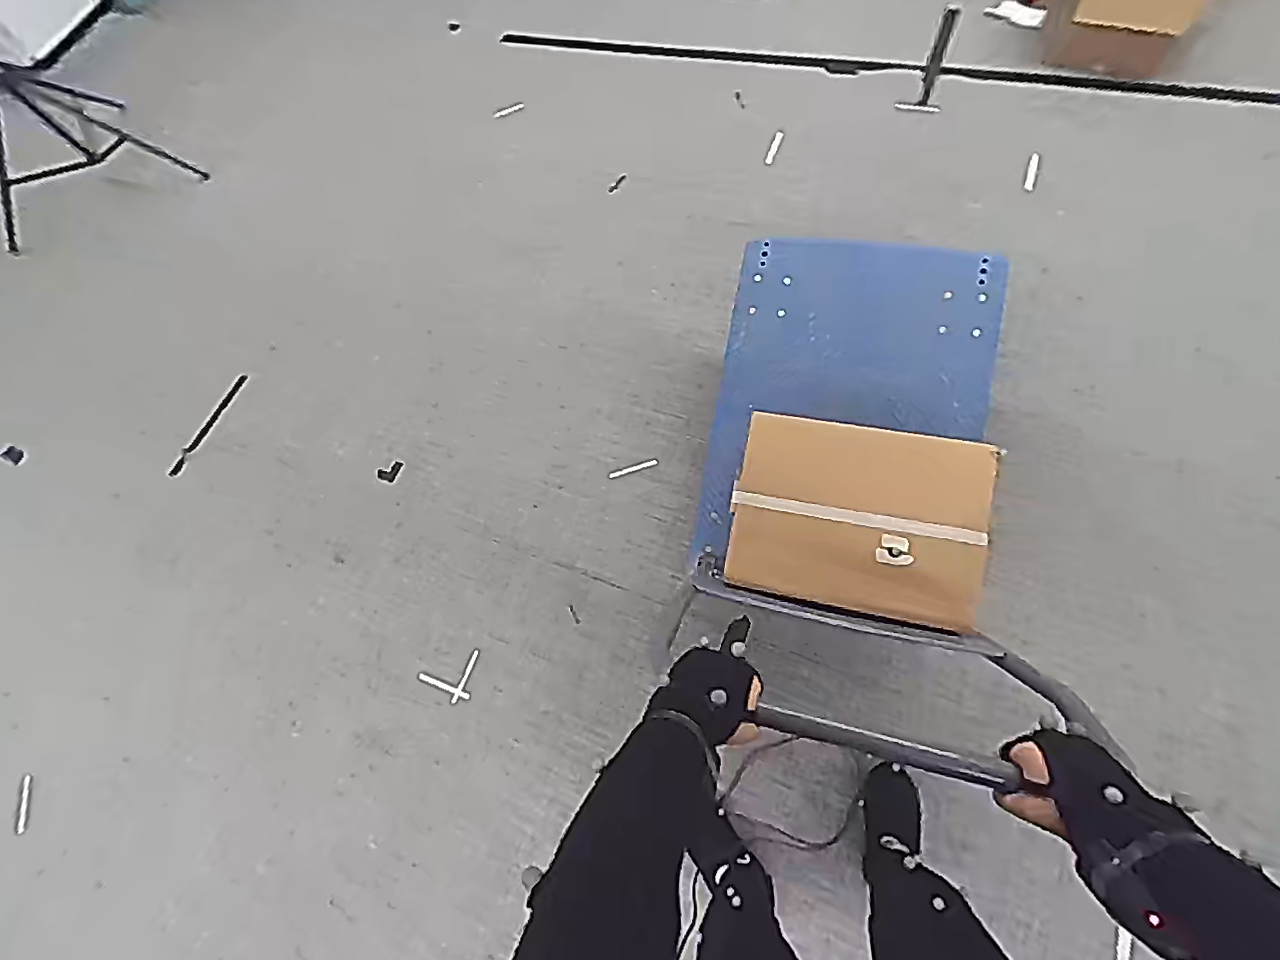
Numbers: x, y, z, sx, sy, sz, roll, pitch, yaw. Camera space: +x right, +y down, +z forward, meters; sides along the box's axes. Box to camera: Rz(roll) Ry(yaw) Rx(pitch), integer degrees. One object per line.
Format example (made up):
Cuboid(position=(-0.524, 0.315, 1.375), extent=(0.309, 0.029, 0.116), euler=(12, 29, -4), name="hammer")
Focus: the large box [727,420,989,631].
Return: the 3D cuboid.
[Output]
Cuboid(position=(0.396, 0.085, 1.079), extent=(0.408, 0.320, 0.320), euler=(10, 87, 12), name="large box")
